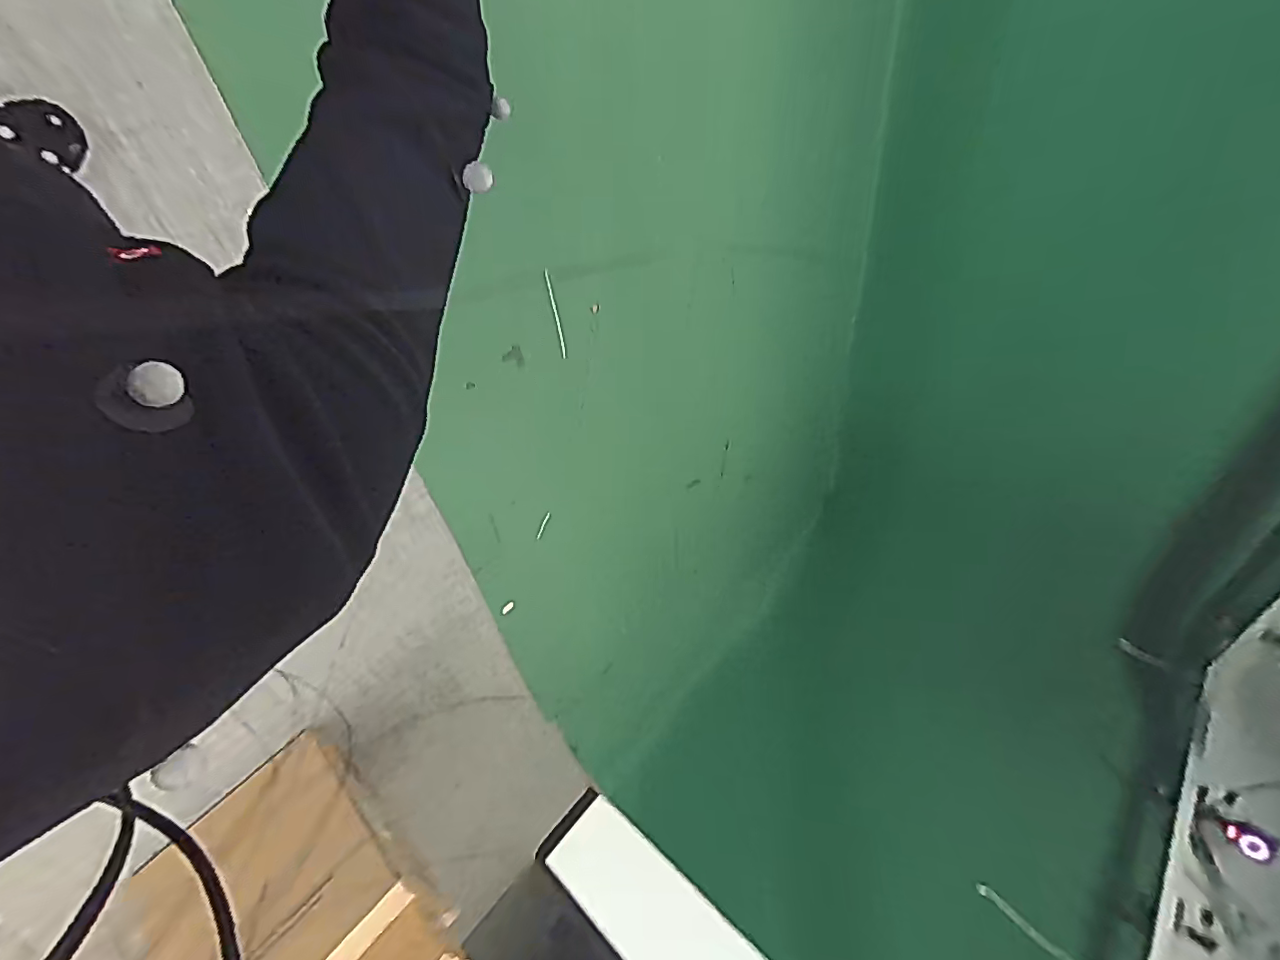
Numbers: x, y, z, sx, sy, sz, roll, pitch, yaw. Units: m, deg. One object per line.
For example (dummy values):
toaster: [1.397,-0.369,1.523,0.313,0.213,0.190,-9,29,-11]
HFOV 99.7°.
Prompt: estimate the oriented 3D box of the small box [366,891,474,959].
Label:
small box: [-0.570,1.218,1.390,0.179,0.176,0.168,-44,138,-29]
